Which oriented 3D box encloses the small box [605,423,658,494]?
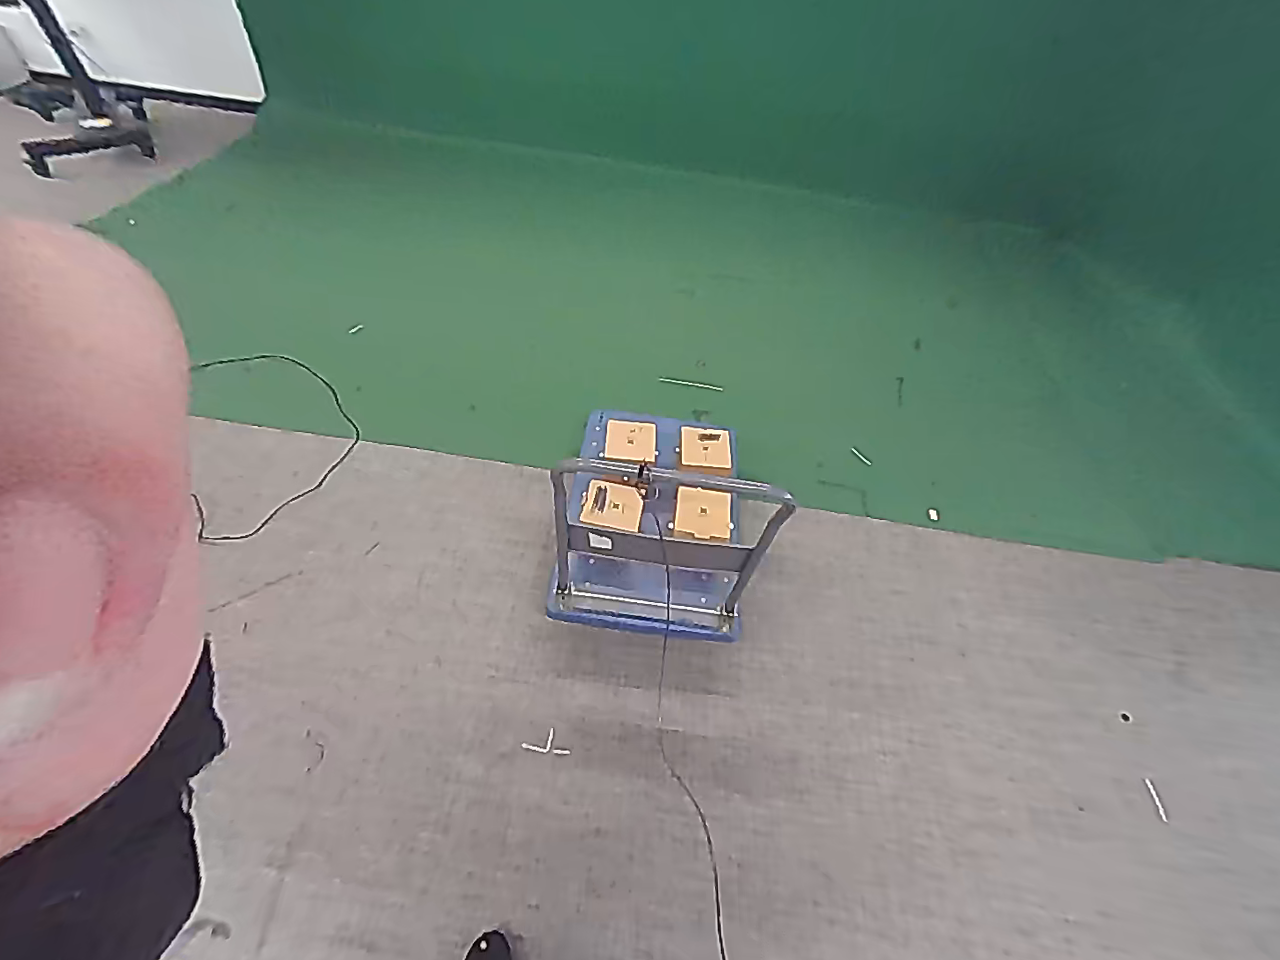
[{"bbox_3d":[-0.031,-0.070,1.844,0.168,0.176,0.179,5,50,-3],"label":"small box"}]

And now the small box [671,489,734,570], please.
[{"bbox_3d":[0.191,0.155,1.680,0.168,0.176,0.179,9,51,1],"label":"small box"}]

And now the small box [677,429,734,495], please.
[{"bbox_3d":[0.220,-0.050,1.854,0.168,0.176,0.179,5,51,-2],"label":"small box"}]
